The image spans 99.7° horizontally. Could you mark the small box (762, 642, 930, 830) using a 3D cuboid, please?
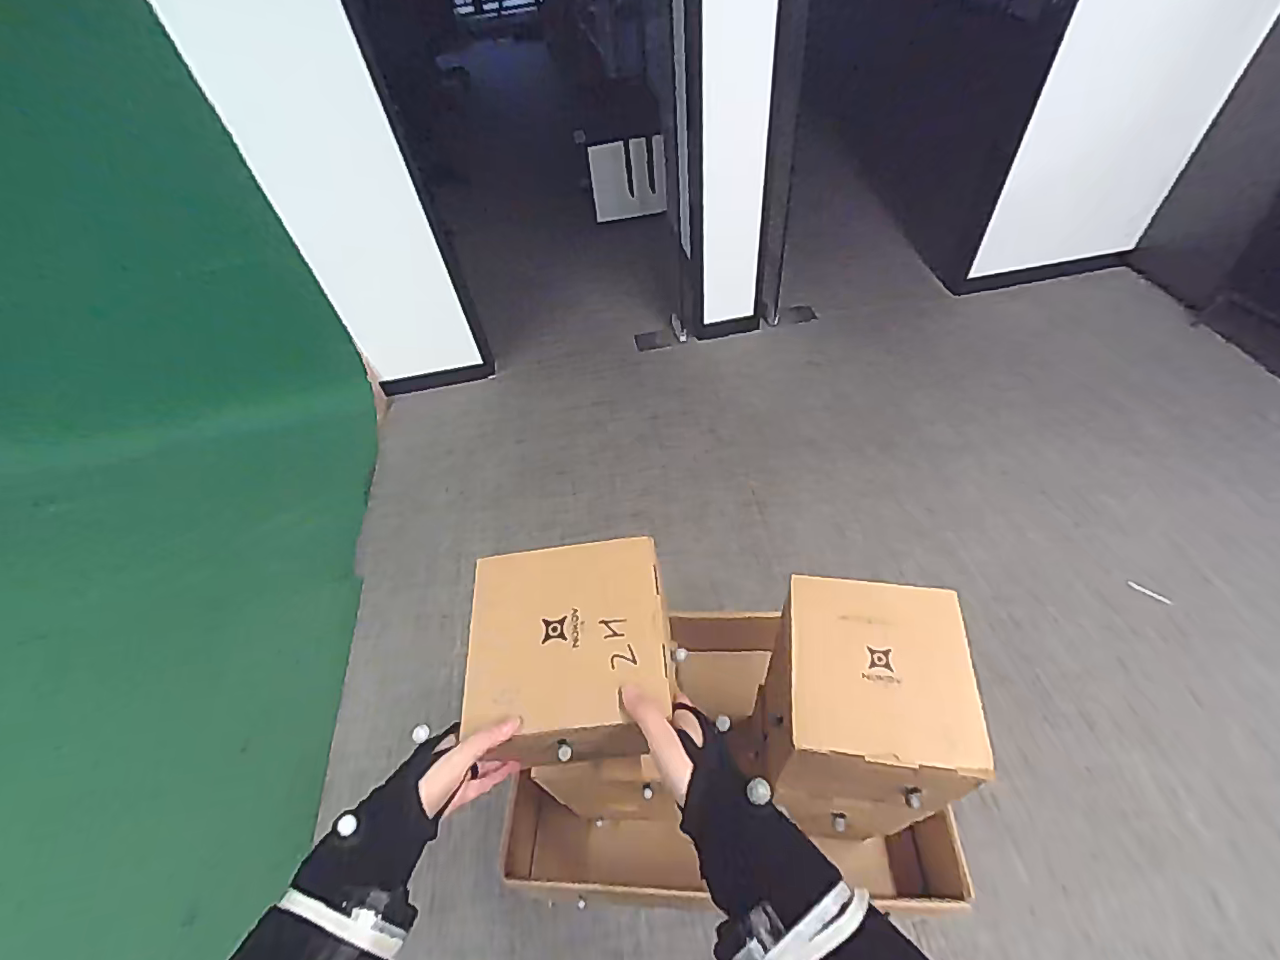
[{"bbox_3d":[0.248,0.330,0.694,0.168,0.176,0.179,4,52,10],"label":"small box"}]

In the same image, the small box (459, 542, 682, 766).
[{"bbox_3d":[-0.058,0.182,0.547,0.179,0.176,0.168,-8,55,4],"label":"small box"}]

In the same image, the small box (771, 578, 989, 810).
[{"bbox_3d":[0.231,0.227,0.569,0.168,0.176,0.179,4,50,11],"label":"small box"}]

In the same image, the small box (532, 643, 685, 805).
[{"bbox_3d":[-0.031,0.333,0.733,0.179,0.176,0.168,-2,50,4],"label":"small box"}]
